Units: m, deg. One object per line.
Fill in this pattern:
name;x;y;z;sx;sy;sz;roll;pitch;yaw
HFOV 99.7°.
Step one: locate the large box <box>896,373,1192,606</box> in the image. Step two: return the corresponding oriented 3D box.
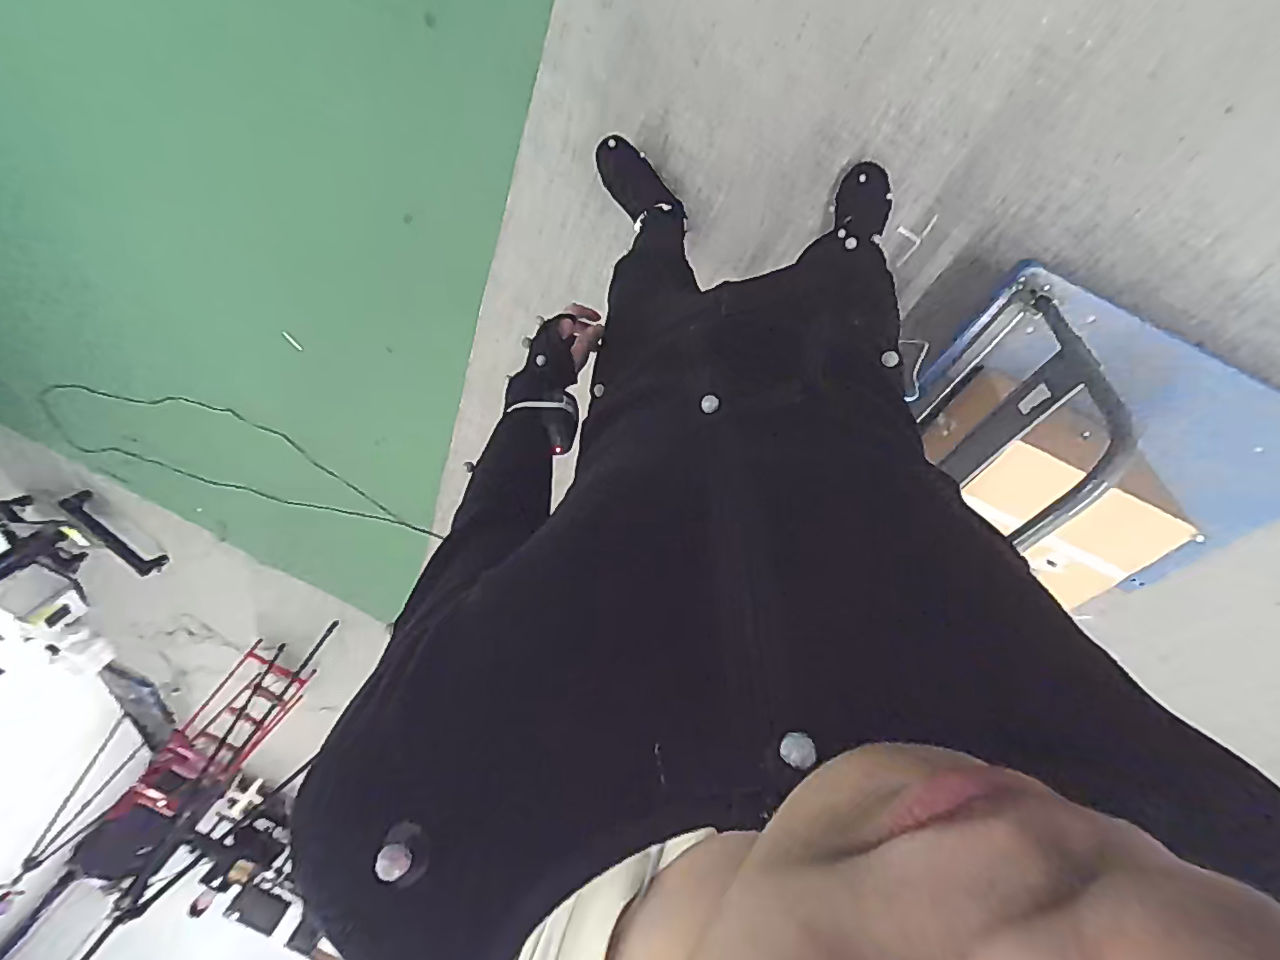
large box;0.876;0.016;1.250;0.408;0.320;0.320;26;132;-1
